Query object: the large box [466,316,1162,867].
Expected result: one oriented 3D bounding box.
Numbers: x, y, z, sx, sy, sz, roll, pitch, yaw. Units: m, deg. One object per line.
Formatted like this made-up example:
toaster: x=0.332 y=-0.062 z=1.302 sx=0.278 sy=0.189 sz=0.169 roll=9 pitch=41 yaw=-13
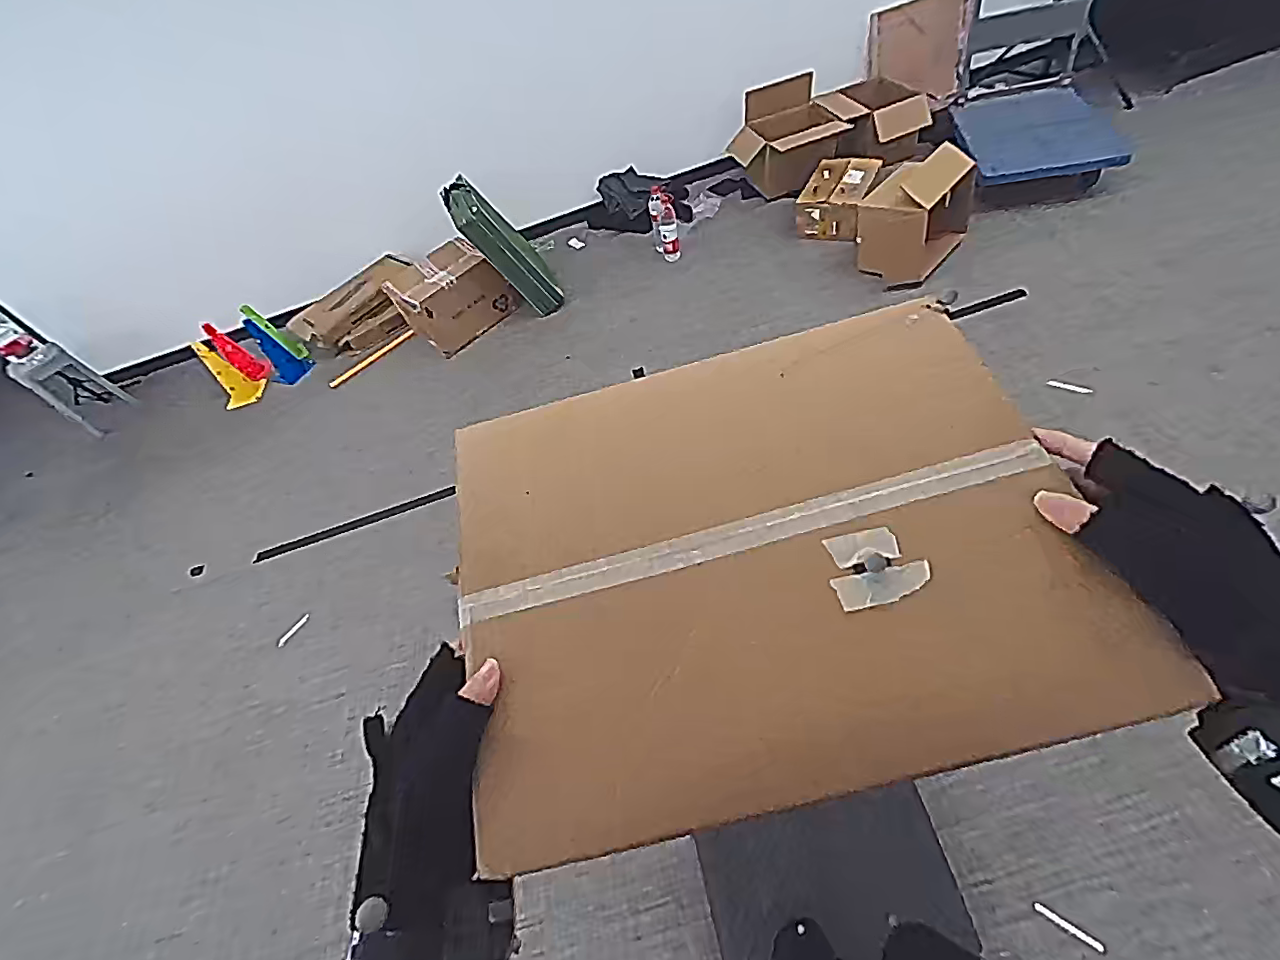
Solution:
large box: x=0.096 y=0.115 z=0.512 sx=0.408 sy=0.320 sz=0.320 roll=-16 pitch=61 yaw=2
